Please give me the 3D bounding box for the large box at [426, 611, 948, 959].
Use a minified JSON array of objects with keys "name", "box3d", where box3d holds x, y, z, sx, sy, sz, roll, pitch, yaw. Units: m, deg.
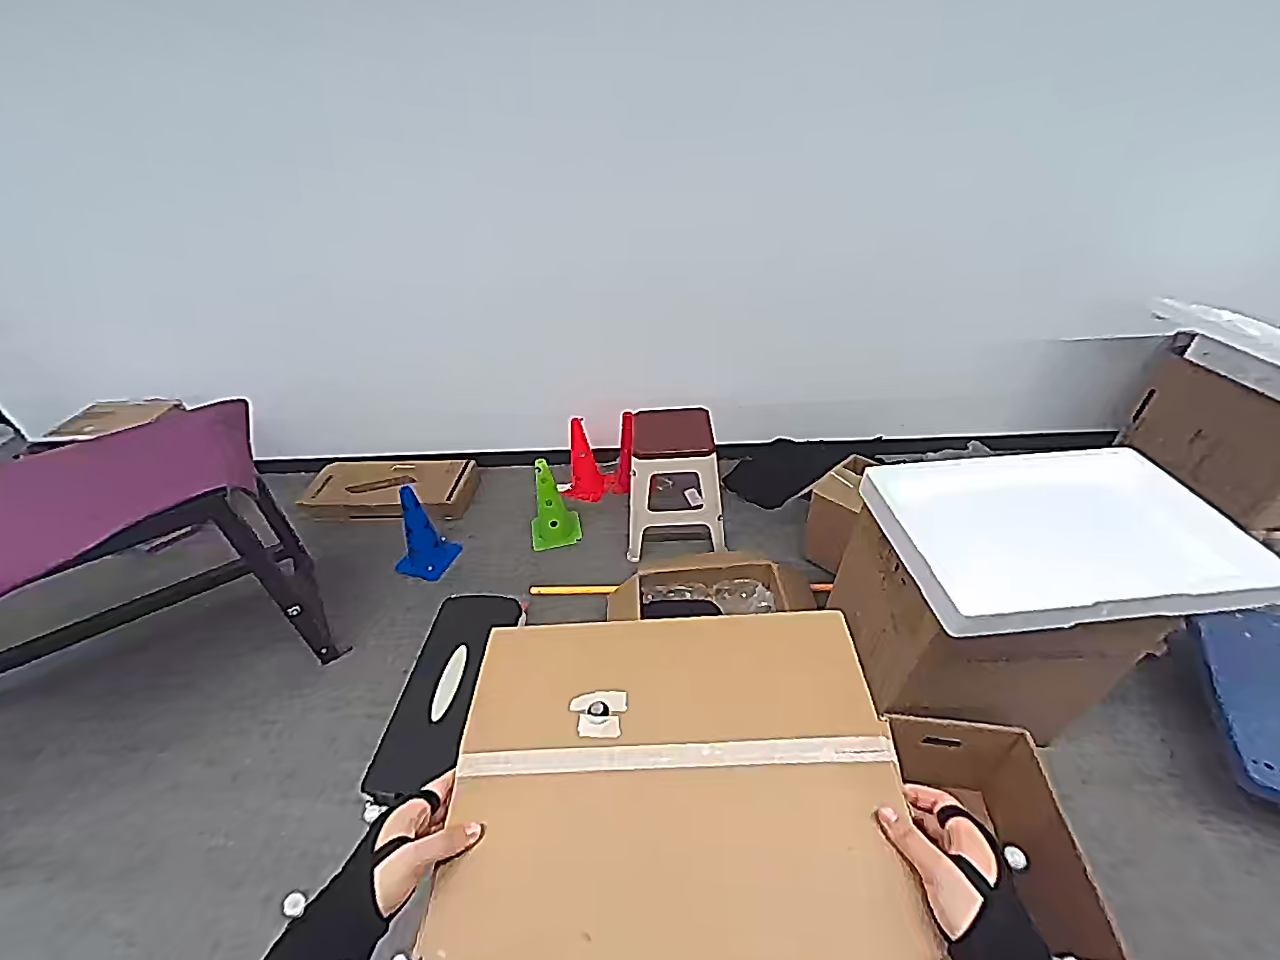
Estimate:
[{"name":"large box","box3d":[0.048,0.381,0.611,0.408,0.320,0.320,-6,39,5]}]
